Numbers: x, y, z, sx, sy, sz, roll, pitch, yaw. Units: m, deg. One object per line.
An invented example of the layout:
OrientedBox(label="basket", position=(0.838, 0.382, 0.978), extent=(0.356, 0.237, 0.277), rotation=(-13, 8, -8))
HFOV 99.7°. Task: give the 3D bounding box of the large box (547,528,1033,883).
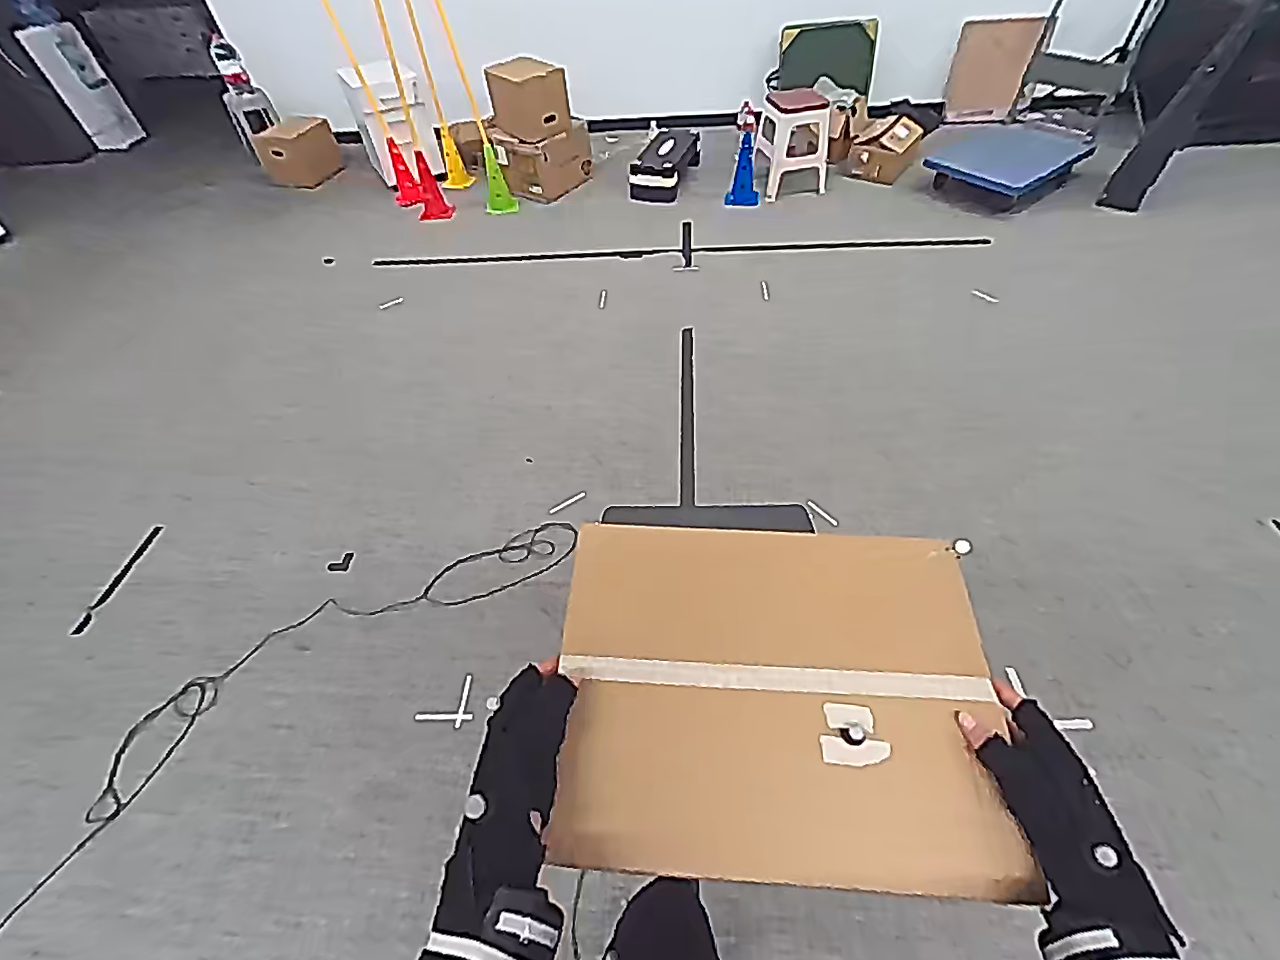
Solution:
OrientedBox(label="large box", position=(0.127, 0.269, 0.644), extent=(0.408, 0.320, 0.320), rotation=(2, 58, 3))
